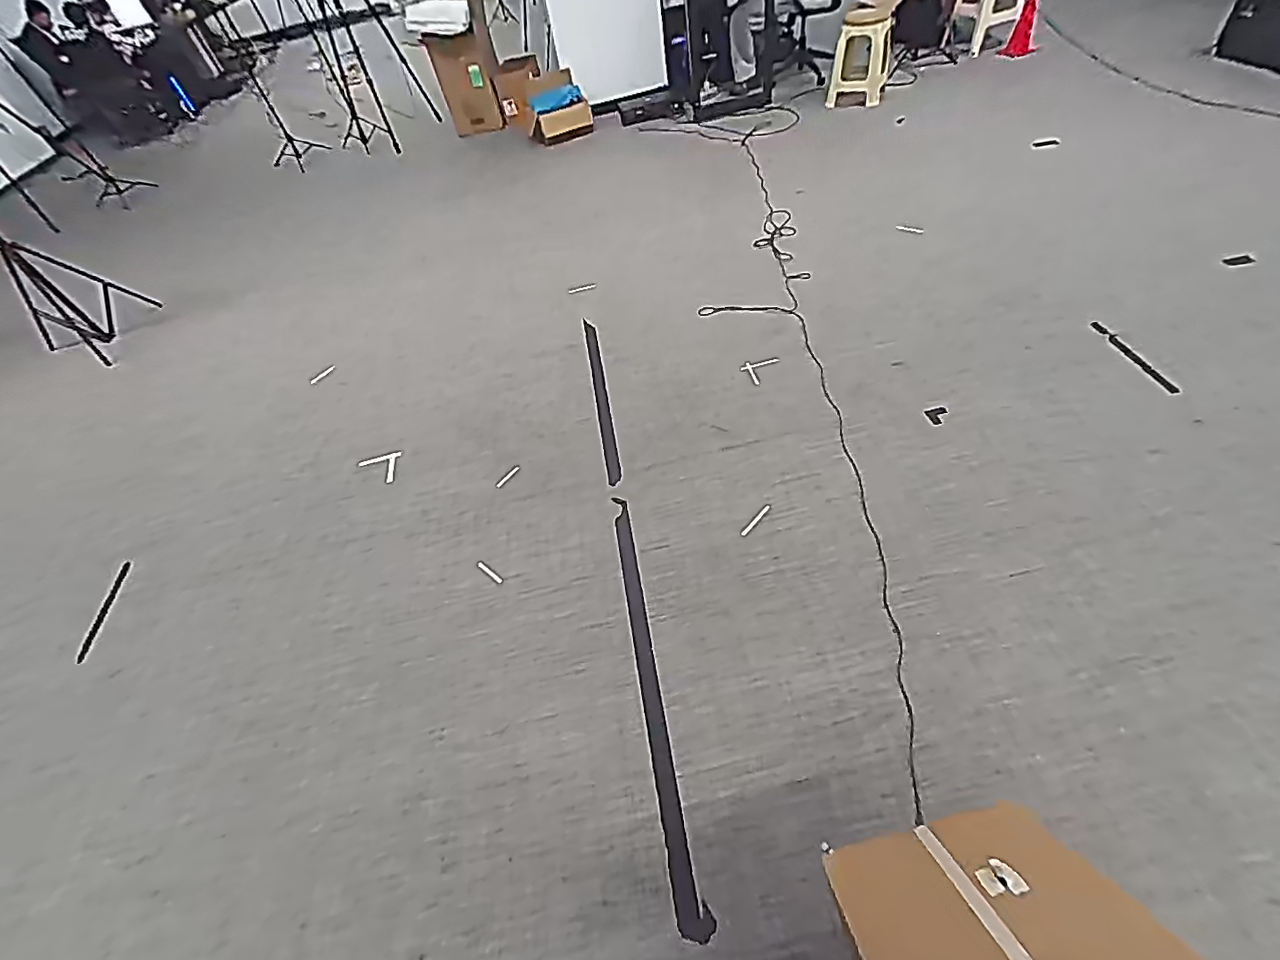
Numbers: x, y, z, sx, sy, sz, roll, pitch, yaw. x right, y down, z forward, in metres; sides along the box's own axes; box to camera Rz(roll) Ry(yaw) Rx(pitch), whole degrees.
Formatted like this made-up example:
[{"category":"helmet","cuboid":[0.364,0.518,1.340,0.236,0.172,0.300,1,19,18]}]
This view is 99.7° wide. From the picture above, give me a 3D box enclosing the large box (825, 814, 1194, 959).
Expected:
[{"category":"large box","cuboid":[0.460,0.677,0.616,0.320,0.408,0.320,-15,86,2]}]
